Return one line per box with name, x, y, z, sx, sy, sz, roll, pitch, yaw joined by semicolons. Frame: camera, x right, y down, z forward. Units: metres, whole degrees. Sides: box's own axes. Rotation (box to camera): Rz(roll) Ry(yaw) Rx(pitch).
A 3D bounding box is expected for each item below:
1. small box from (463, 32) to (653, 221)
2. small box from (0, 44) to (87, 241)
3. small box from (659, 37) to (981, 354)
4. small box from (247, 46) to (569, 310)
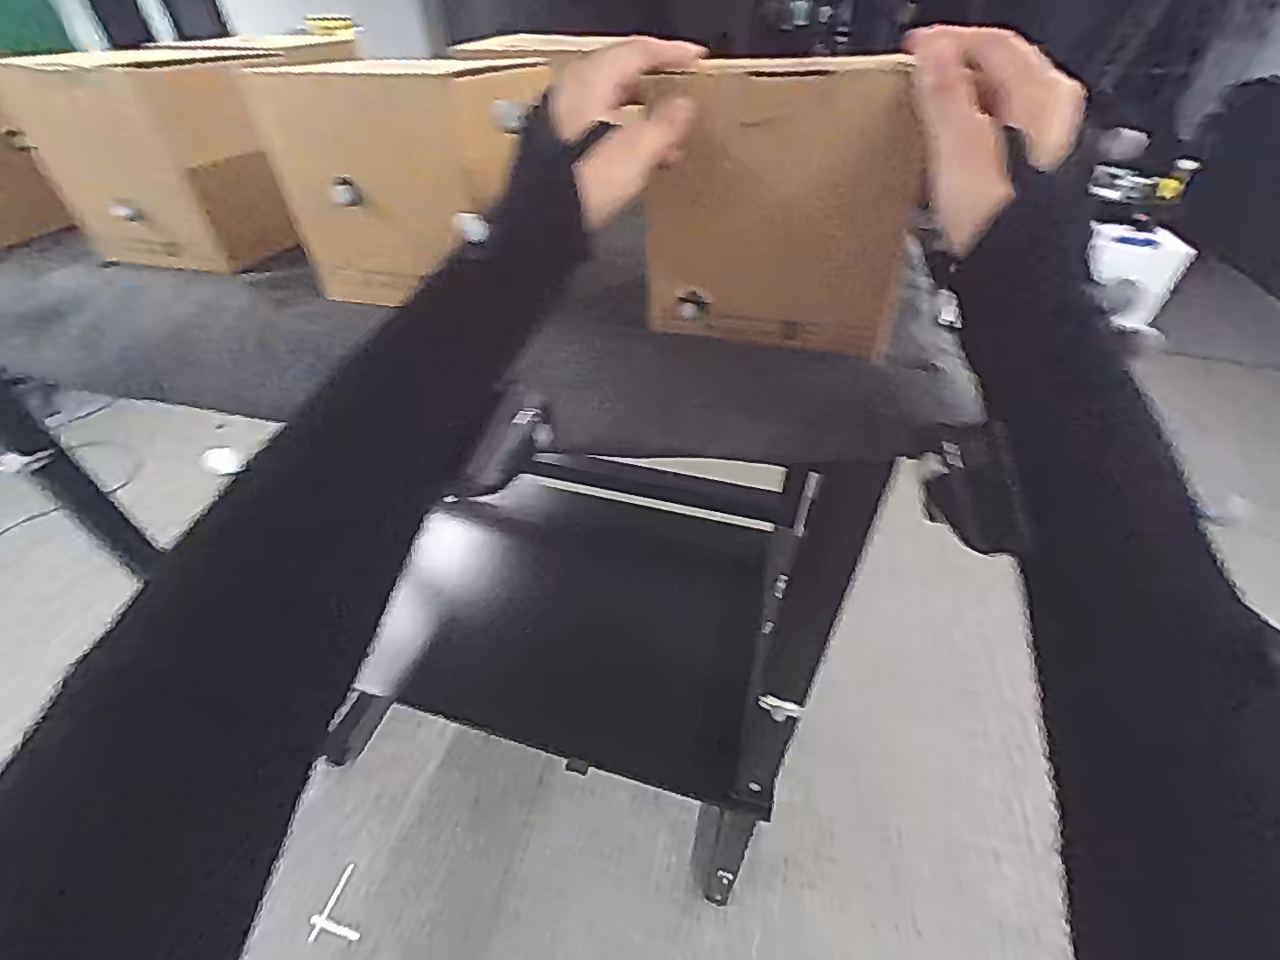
small box;-0.087;-0.435;0.661;0.168;0.176;0.179;10;43;12
small box;-0.763;-0.355;0.575;0.168;0.176;0.179;9;42;11
small box;0.119;-0.206;0.392;0.168;0.176;0.179;11;40;16
small box;-0.167;-0.259;0.462;0.168;0.176;0.179;10;40;12
